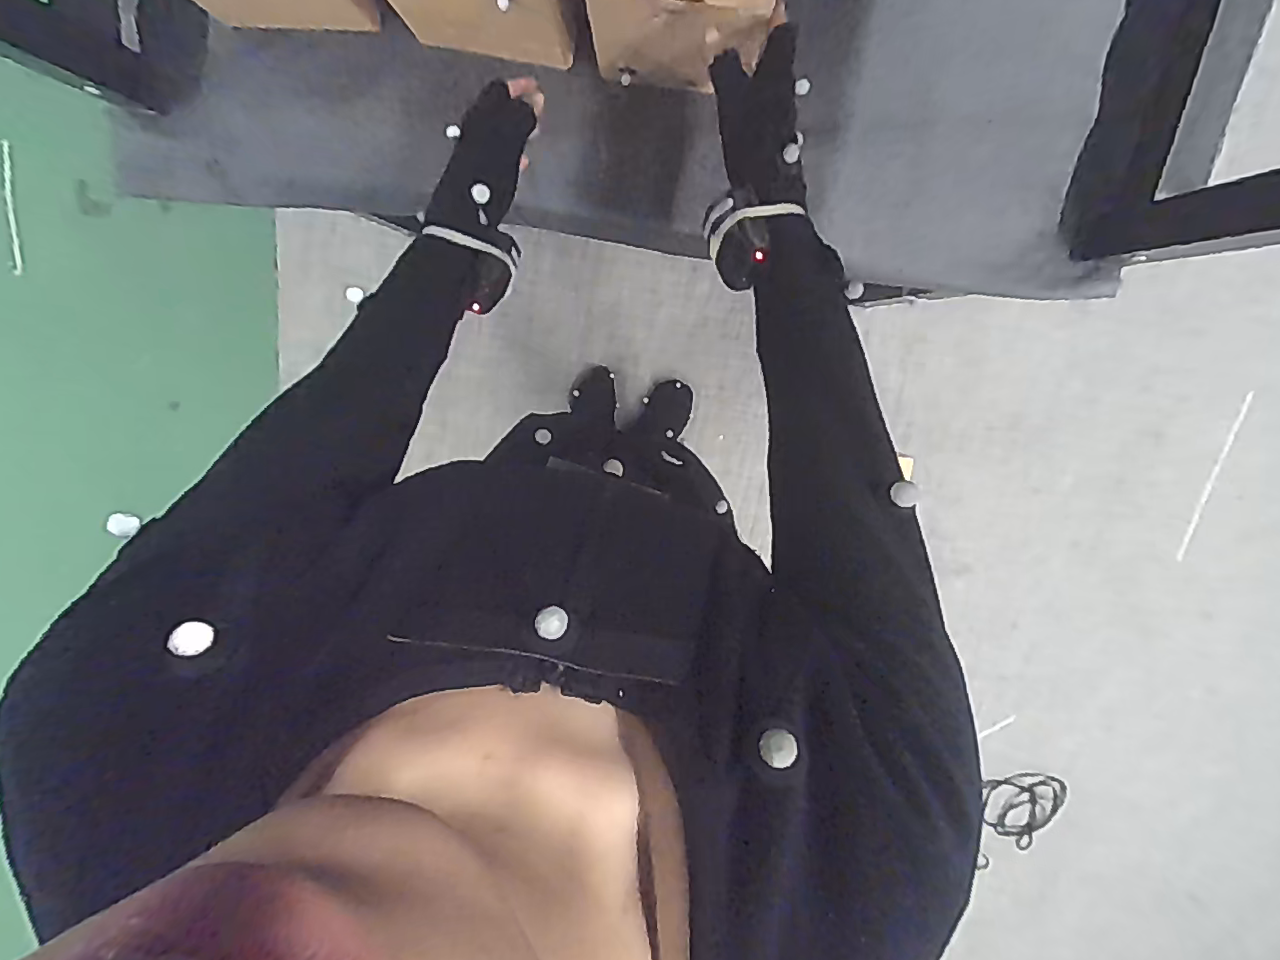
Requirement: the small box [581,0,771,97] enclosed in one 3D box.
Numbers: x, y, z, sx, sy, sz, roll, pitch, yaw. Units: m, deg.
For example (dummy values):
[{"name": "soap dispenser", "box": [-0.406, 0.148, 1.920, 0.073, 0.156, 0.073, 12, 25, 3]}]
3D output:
[{"name": "small box", "box": [0.043, -0.502, 0.514, 0.168, 0.176, 0.179, 8, 104, -1]}]
